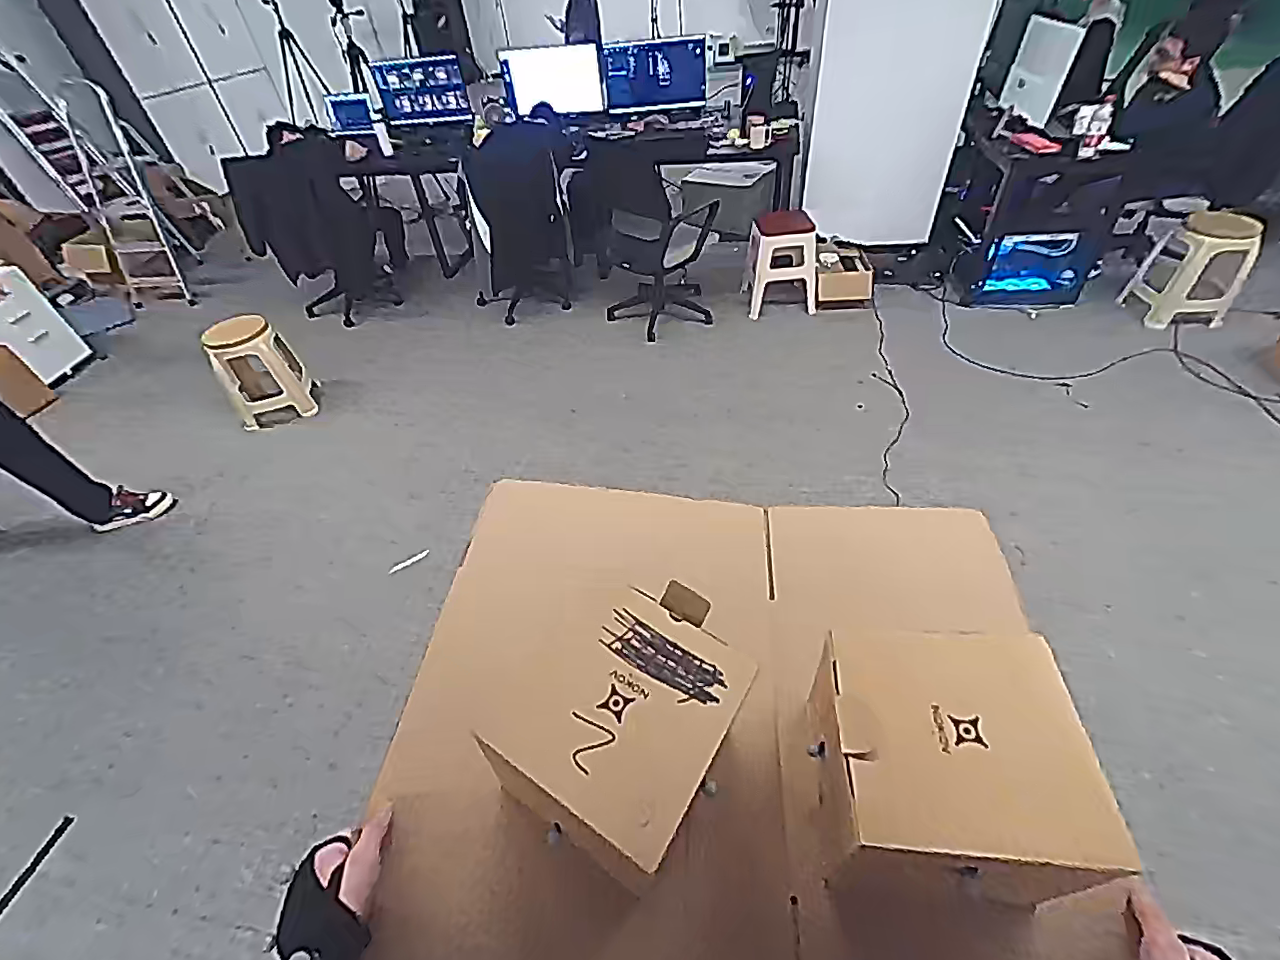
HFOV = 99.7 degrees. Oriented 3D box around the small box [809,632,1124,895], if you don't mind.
[{"bbox_3d":[0.257,0.254,0.483,0.179,0.176,0.168,0,47,9],"label":"small box"}]
